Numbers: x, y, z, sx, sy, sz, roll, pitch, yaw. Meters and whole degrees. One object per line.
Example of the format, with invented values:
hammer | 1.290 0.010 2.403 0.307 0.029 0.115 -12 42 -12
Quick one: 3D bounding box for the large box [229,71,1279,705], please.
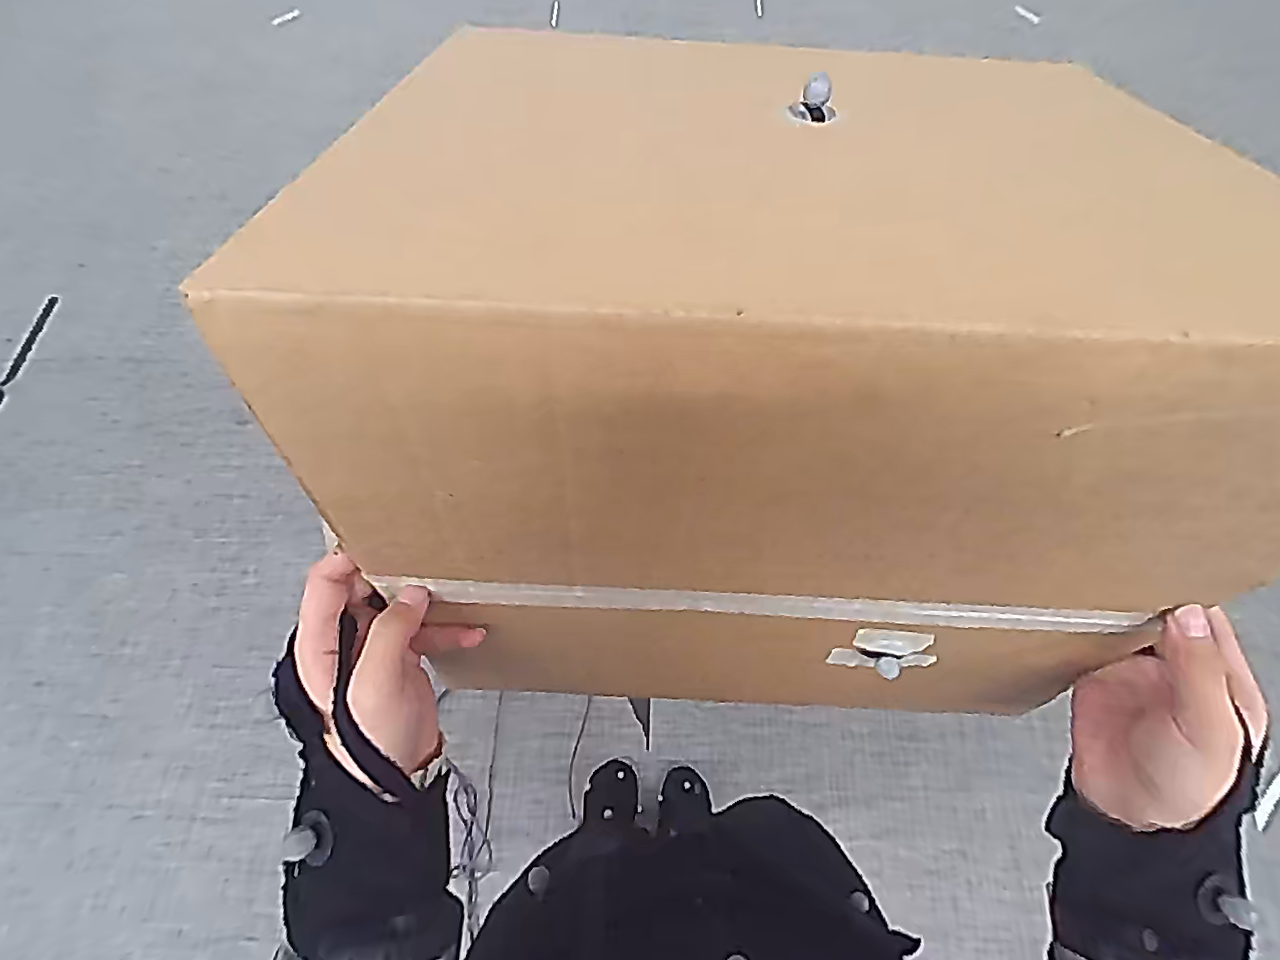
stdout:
large box | 0.069 -0.055 0.372 0.408 0.320 0.320 2 51 0
